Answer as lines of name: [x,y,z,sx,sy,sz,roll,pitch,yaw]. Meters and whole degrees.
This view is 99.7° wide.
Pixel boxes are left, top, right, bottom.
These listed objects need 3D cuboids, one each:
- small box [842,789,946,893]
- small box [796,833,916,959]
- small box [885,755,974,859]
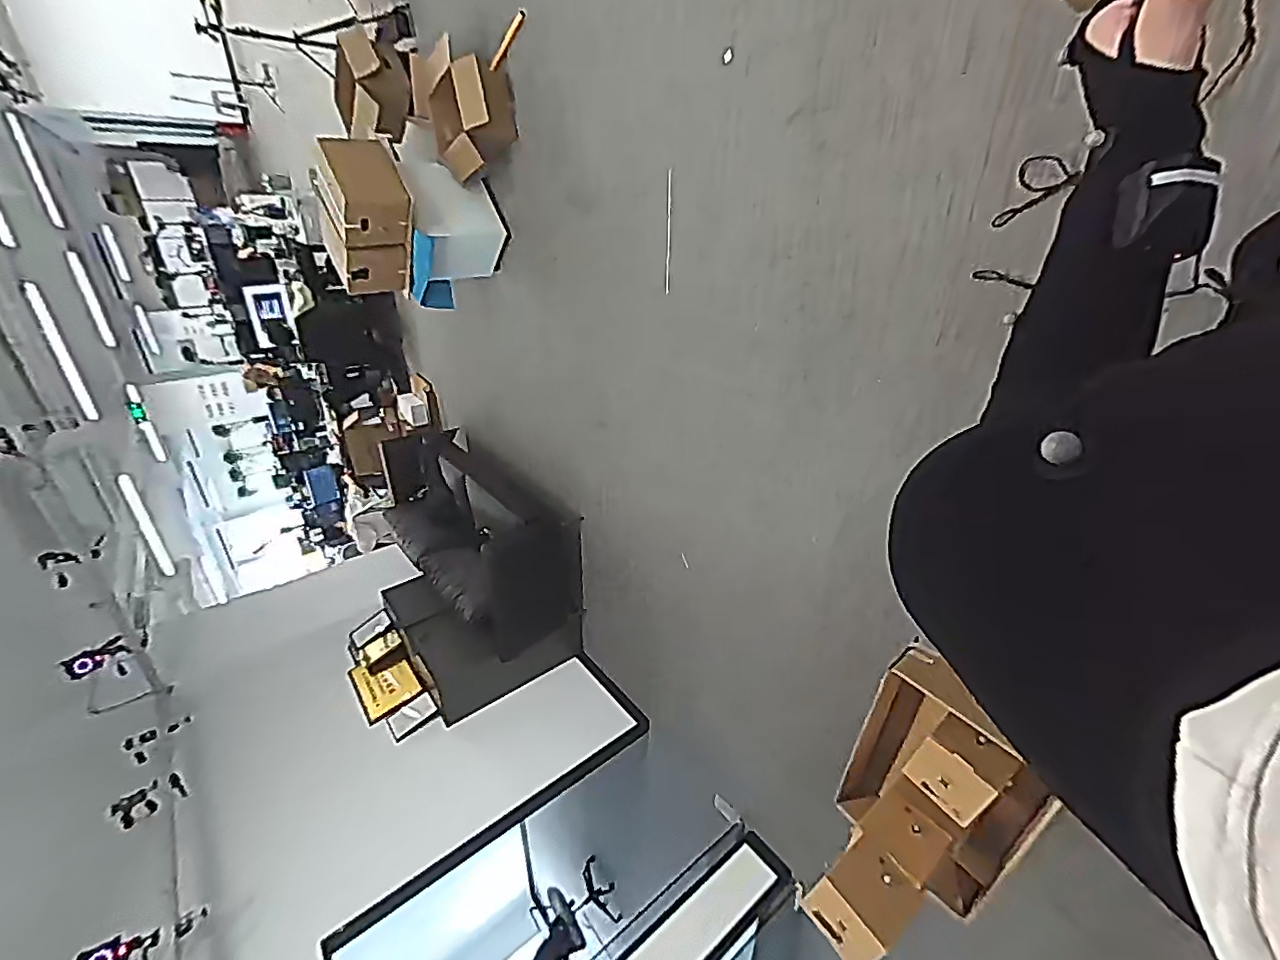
small box: [0.626,0.924,1.346,0.168,0.176,0.179,33,129,43]
small box: [0.500,0.972,1.251,0.168,0.176,0.179,42,134,36]
small box: [0.752,0.884,1.440,0.168,0.176,0.179,33,129,41]
